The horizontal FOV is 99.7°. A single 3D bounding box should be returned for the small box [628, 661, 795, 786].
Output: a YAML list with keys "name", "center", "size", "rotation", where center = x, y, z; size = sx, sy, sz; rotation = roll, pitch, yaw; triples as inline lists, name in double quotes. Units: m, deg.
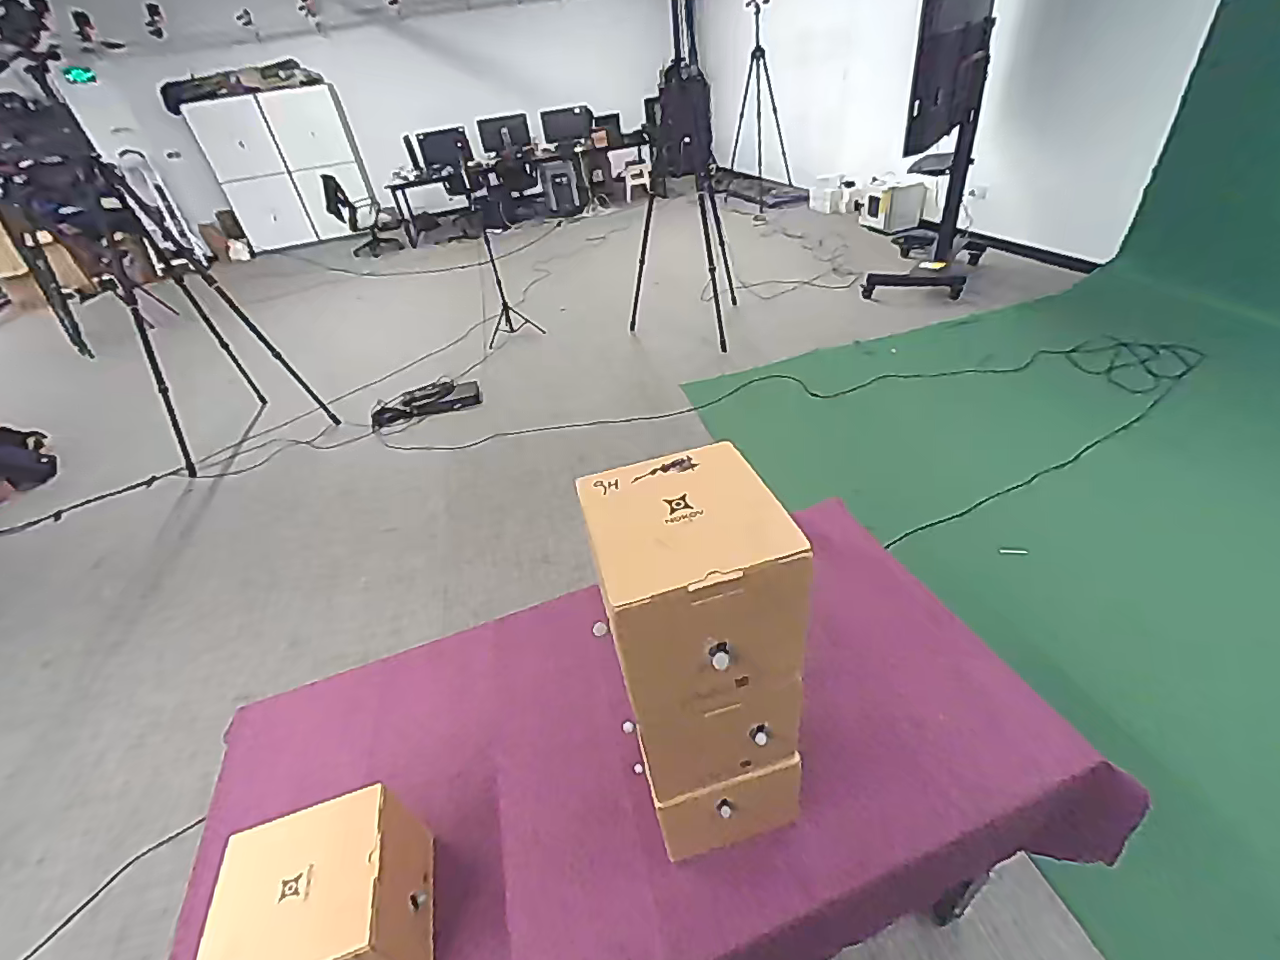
- name: "small box"
  center: [0.068, 0.224, 0.627]
  size: [0.168, 0.176, 0.179]
  rotation: [-14, 36, -6]

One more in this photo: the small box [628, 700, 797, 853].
- name: "small box"
  center: [0.094, 0.357, 0.717]
  size: [0.179, 0.176, 0.168]
  rotation: [-15, 38, -5]

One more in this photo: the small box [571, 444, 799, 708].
- name: "small box"
  center: [0.040, 0.095, 0.528]
  size: [0.168, 0.176, 0.179]
  rotation: [-15, 38, -7]

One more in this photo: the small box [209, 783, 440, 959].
- name: "small box"
  center: [-0.354, 0.505, 0.636]
  size: [0.179, 0.176, 0.168]
  rotation: [-17, 37, -9]
